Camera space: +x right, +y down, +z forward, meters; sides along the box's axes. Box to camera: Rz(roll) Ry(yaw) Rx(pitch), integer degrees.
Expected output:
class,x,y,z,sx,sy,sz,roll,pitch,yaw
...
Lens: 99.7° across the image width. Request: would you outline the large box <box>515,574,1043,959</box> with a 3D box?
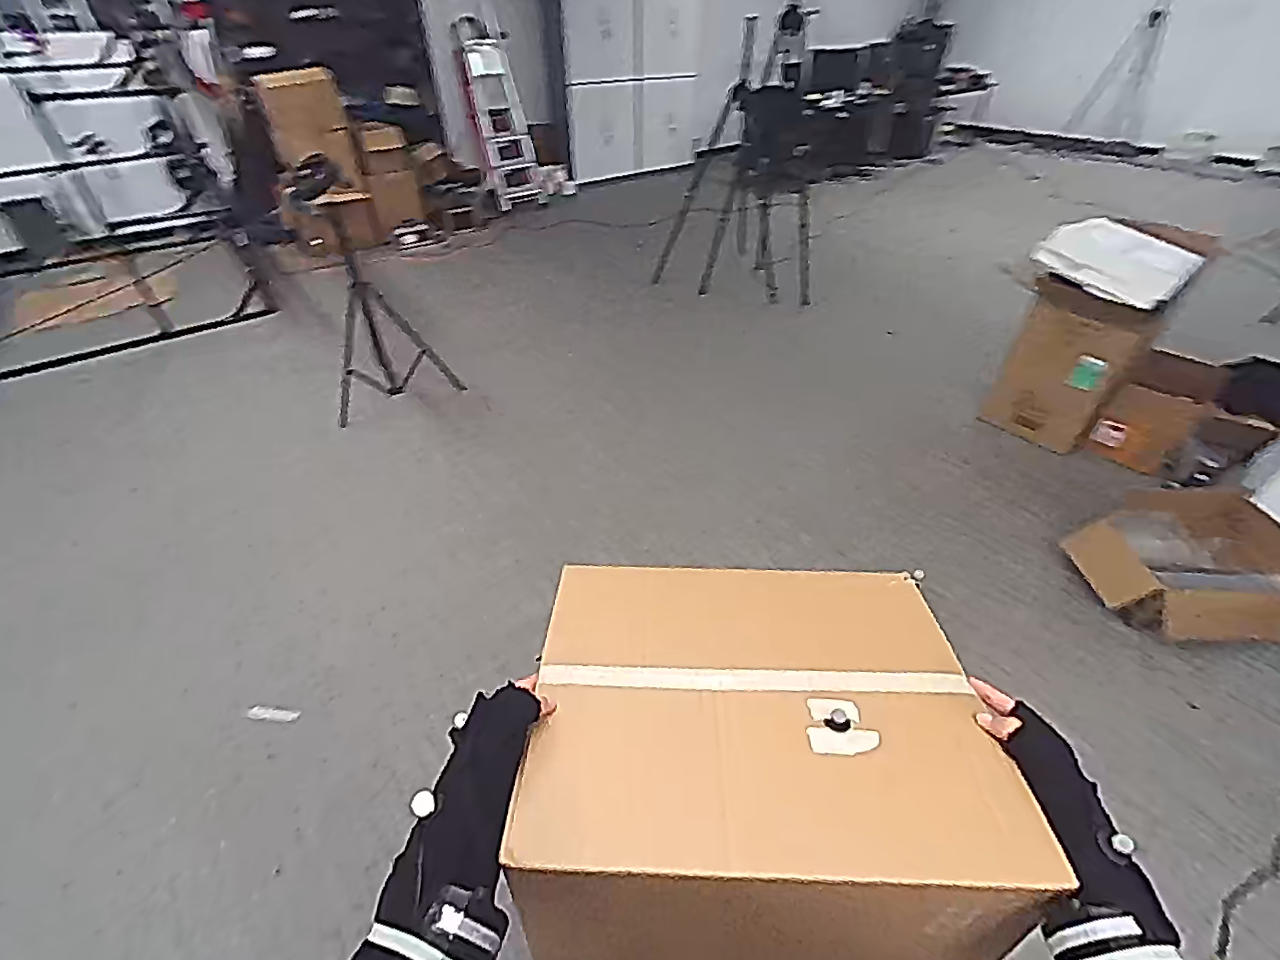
class,x,y,z,sx,sy,sz,roll,pitch,yaw
large box,0.103,0.322,0.604,0.408,0.320,0.320,1,34,1
